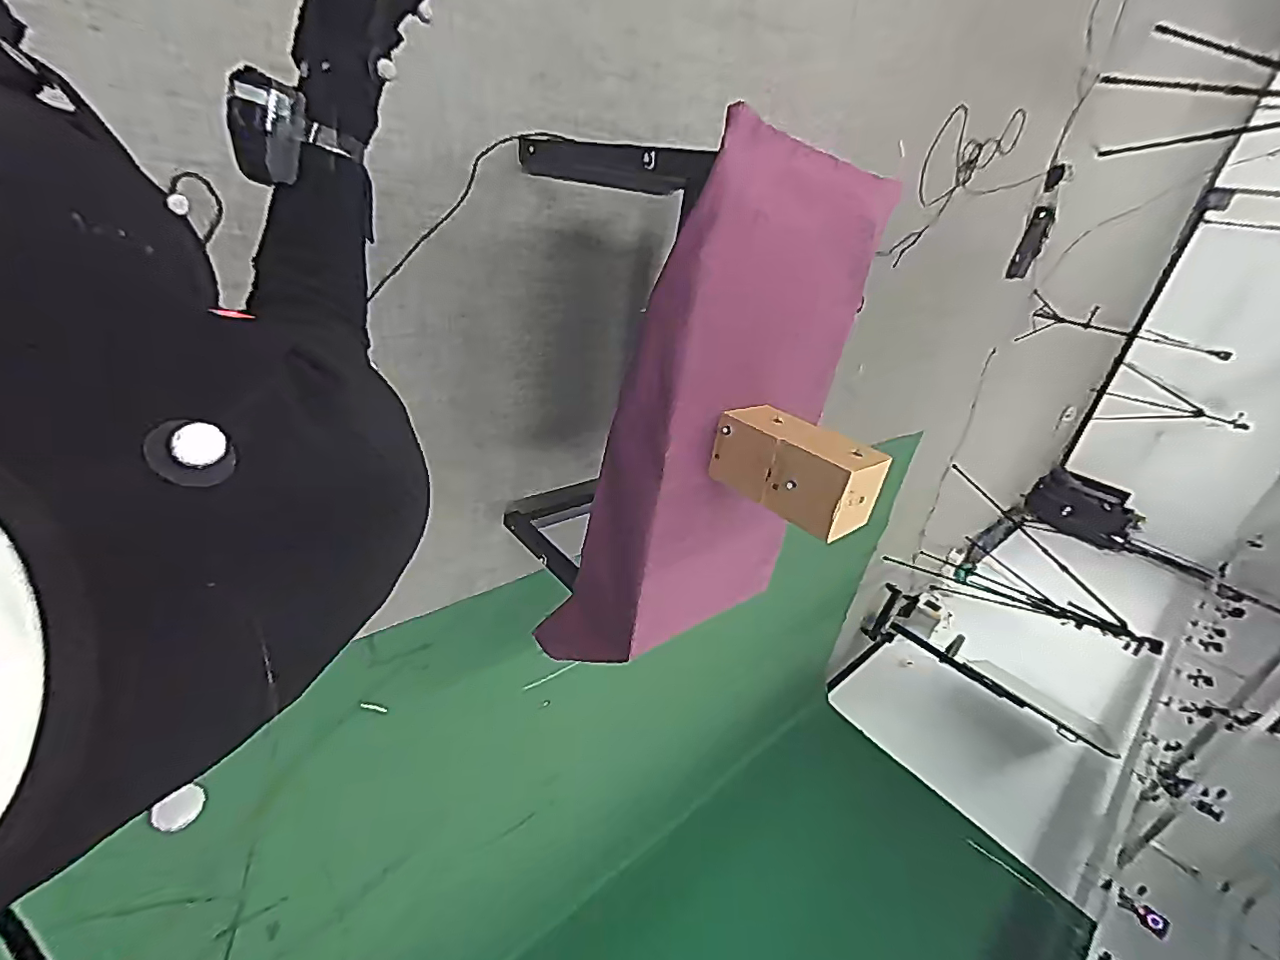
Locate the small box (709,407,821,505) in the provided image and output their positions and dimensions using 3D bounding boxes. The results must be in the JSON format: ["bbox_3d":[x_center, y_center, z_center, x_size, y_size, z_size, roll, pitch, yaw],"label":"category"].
[{"bbox_3d":[0.285,-0.063,1.265,0.179,0.176,0.168,-14,125,-40],"label":"small box"}]

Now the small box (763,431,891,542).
[{"bbox_3d":[0.397,0.004,1.164,0.179,0.176,0.168,-14,124,-39],"label":"small box"}]
